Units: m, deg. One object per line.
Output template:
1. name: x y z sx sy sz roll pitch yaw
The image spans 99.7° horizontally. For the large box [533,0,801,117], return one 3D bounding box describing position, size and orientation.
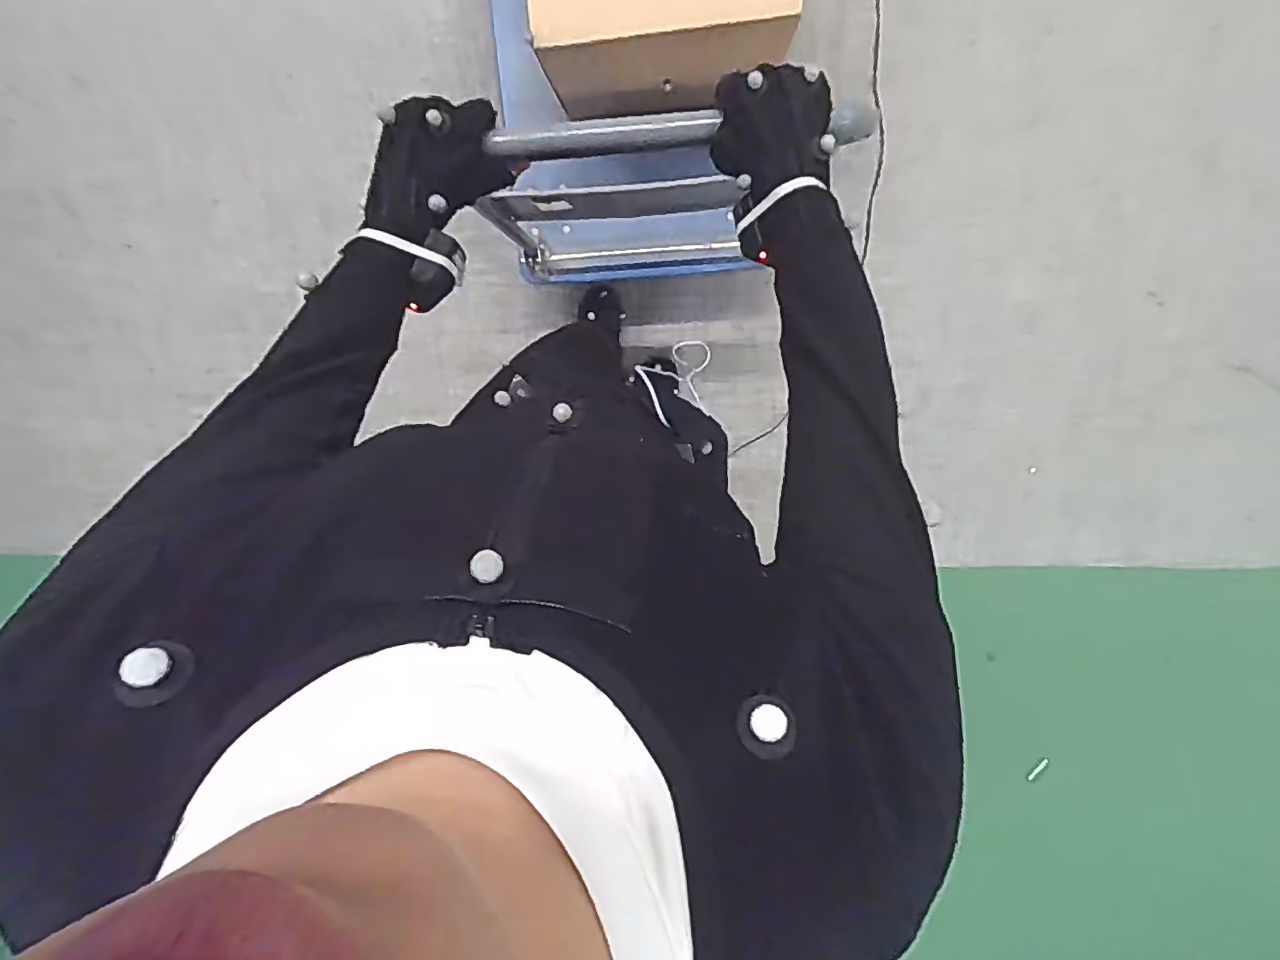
1. large box: 0.041 -0.860 0.914 0.408 0.320 0.320 -3 106 6
